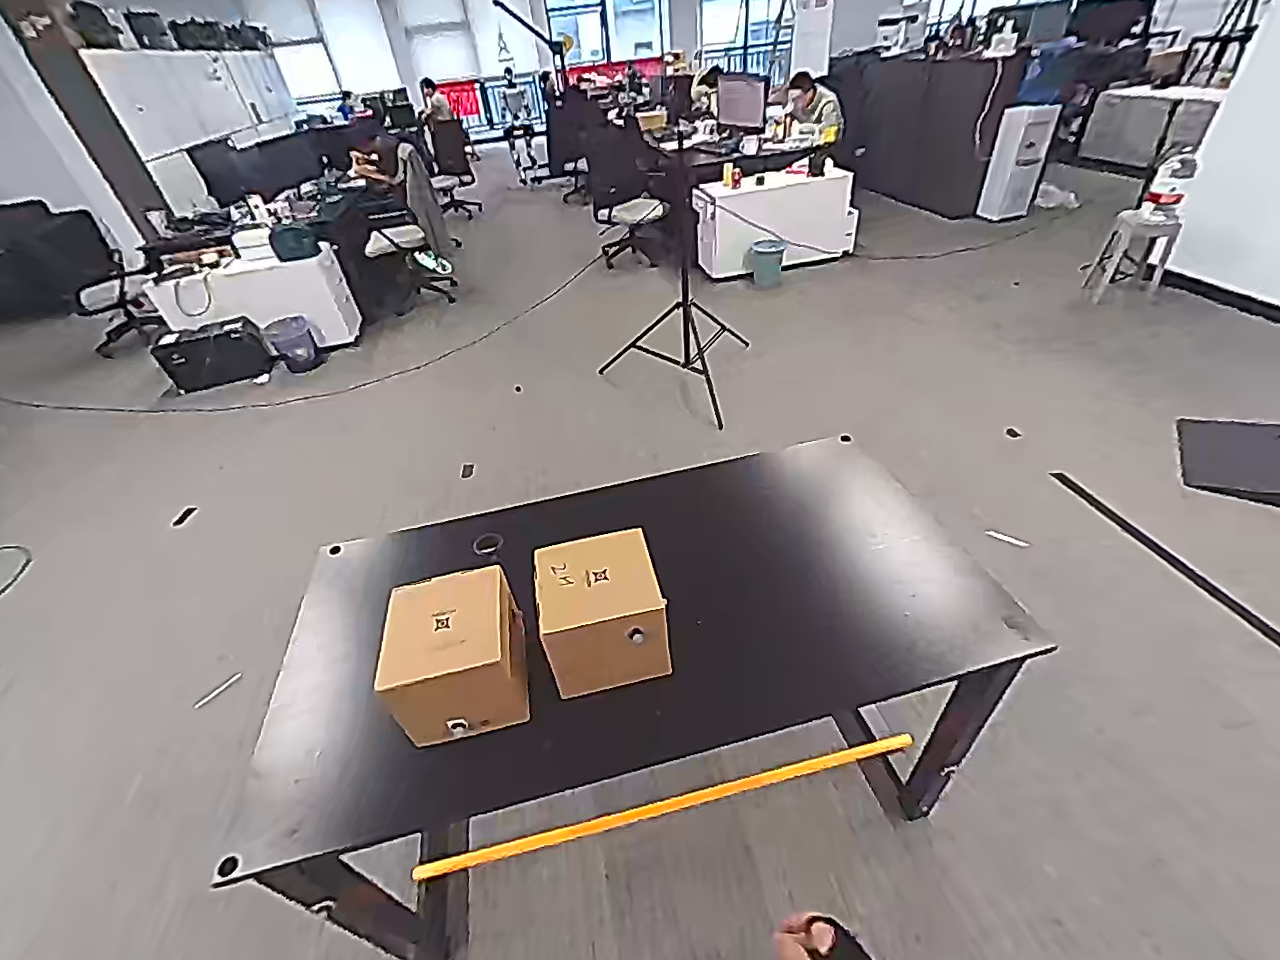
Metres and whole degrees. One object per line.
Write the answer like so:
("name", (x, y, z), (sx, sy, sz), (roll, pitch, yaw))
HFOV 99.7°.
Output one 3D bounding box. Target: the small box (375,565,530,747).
("small box", (-0.267, 0.260, 0.805), (0.168, 0.176, 0.179), (-13, 40, -6))
